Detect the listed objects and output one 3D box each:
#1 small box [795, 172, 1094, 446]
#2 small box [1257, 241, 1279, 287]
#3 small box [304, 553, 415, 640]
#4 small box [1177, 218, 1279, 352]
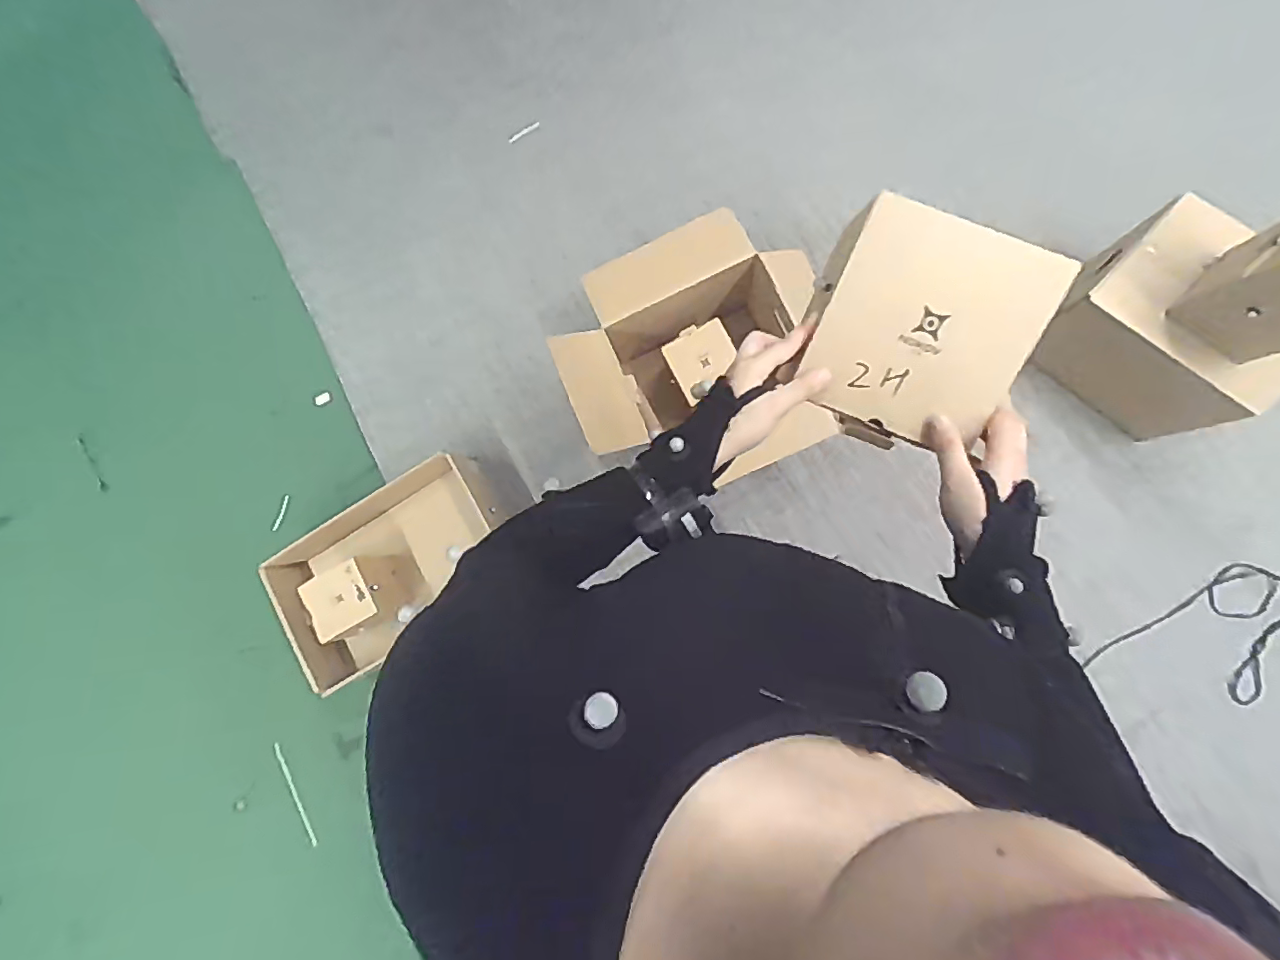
[{"bbox_3d":[0.262,-0.156,0.523,0.168,0.176,0.179,24,108,5],"label":"small box"},{"bbox_3d":[1.182,-0.376,0.855,0.179,0.176,0.168,43,93,10],"label":"small box"},{"bbox_3d":[-0.753,0.312,1.466,0.179,0.176,0.168,-30,80,3],"label":"small box"},{"bbox_3d":[1.197,-0.370,1.018,0.179,0.176,0.168,43,92,9],"label":"small box"}]
